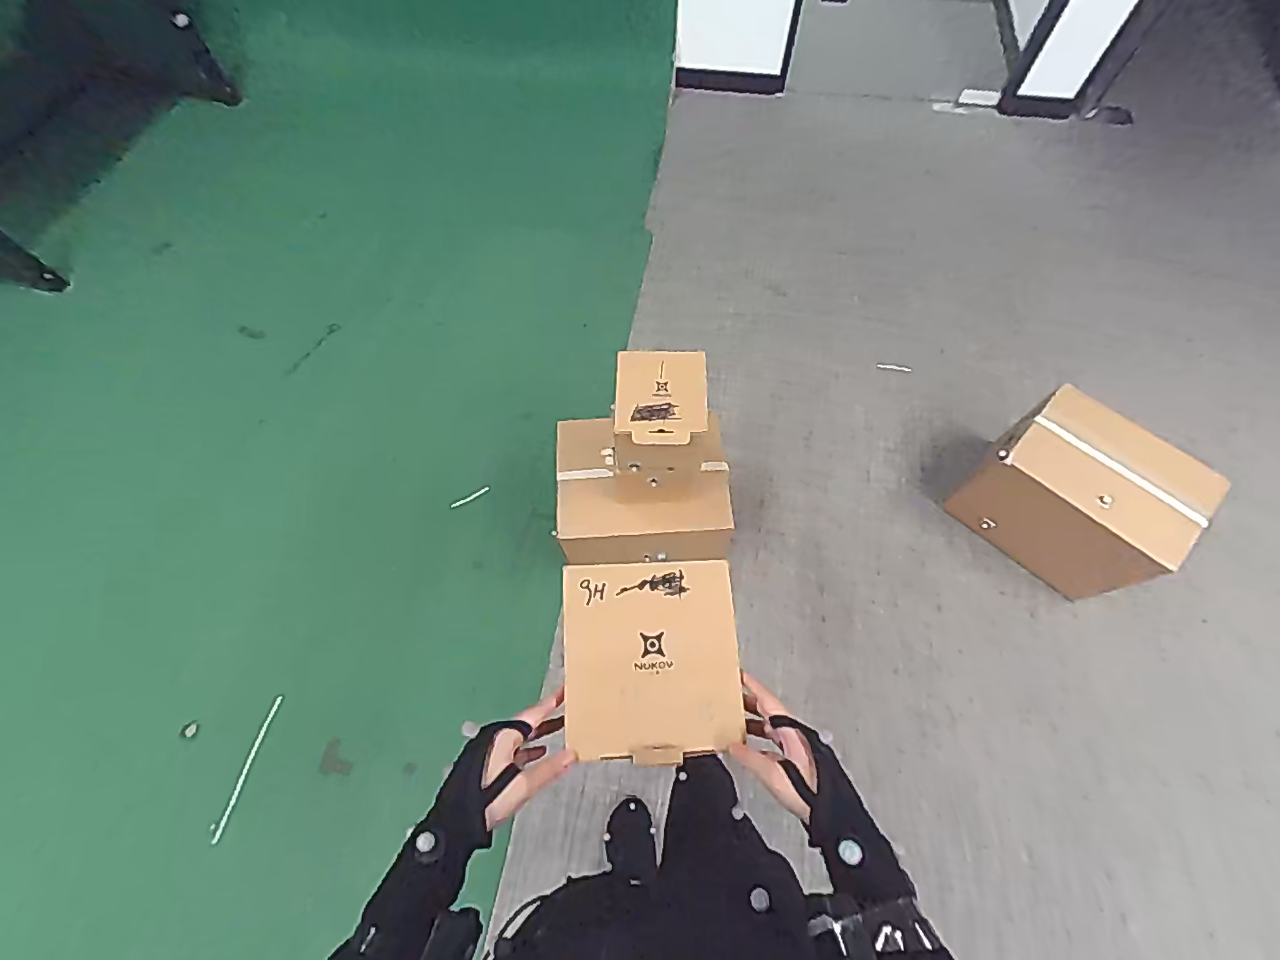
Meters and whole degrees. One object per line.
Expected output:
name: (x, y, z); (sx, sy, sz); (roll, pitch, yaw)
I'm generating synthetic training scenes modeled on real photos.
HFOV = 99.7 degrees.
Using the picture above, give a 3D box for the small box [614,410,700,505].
small box: (0.036, -0.050, 1.191); (0.179, 0.176, 0.168); (-1, 66, 1)

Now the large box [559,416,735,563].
large box: (0.014, 0.058, 1.411); (0.408, 0.320, 0.320); (-4, 63, 1)

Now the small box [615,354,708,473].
small box: (0.043, -0.123, 1.044); (0.168, 0.176, 0.179); (1, 66, 2)

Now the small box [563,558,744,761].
small box: (0.004, 0.186, 0.581); (0.168, 0.176, 0.179); (-1, 72, -6)
